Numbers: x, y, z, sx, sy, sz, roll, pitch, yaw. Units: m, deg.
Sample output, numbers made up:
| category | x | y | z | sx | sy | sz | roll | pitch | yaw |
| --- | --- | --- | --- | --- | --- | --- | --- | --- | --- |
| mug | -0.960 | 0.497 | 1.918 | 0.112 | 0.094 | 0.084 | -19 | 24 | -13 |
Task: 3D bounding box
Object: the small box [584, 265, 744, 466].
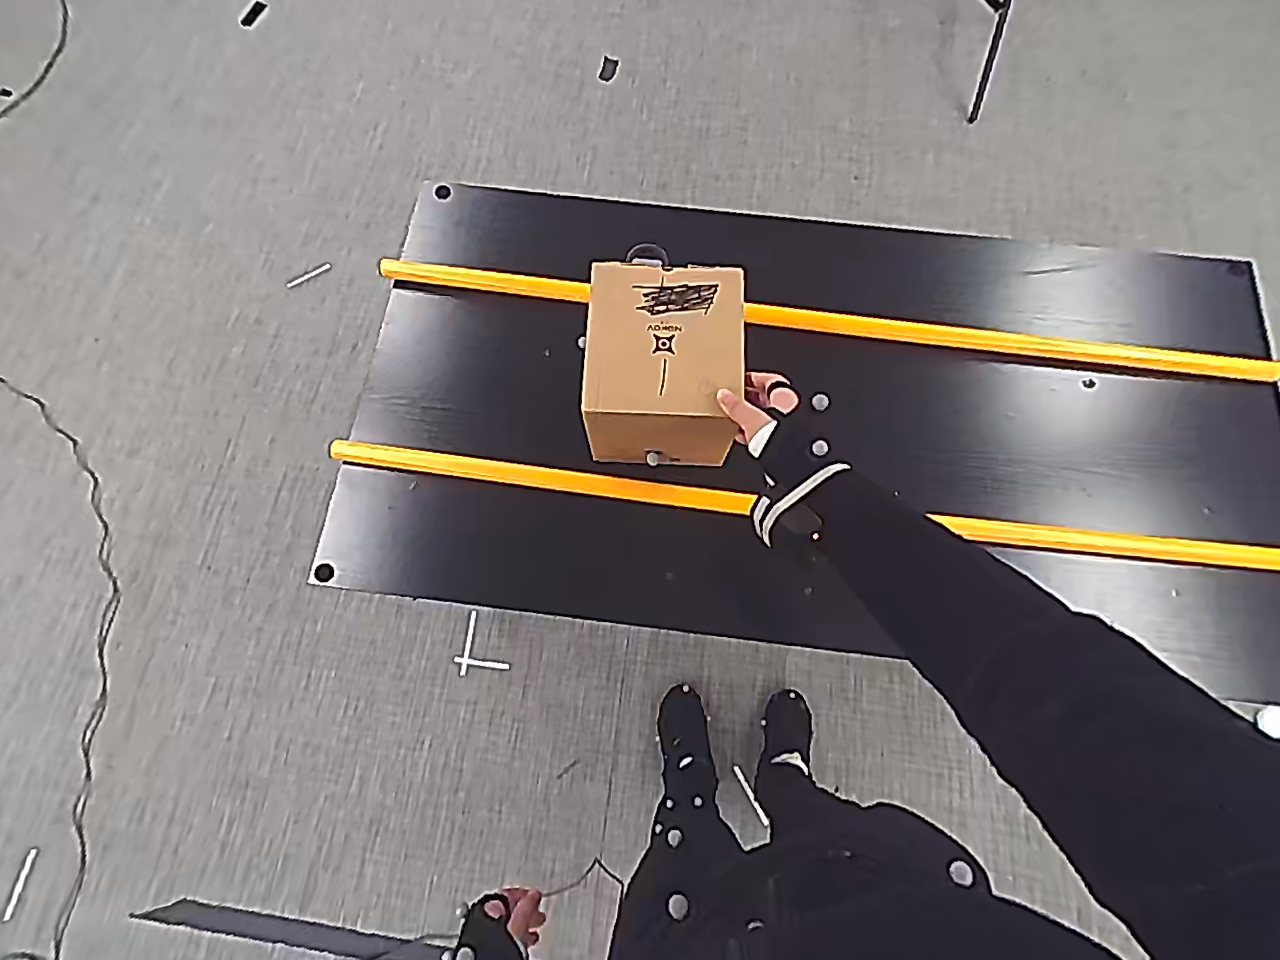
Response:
| category | x | y | z | sx | sy | sz | roll | pitch | yaw |
| --- | --- | --- | --- | --- | --- | --- | --- | --- | --- |
| small box | 0.028 | -0.127 | 0.645 | 0.168 | 0.176 | 0.179 | 2 | 75 | 1 |
